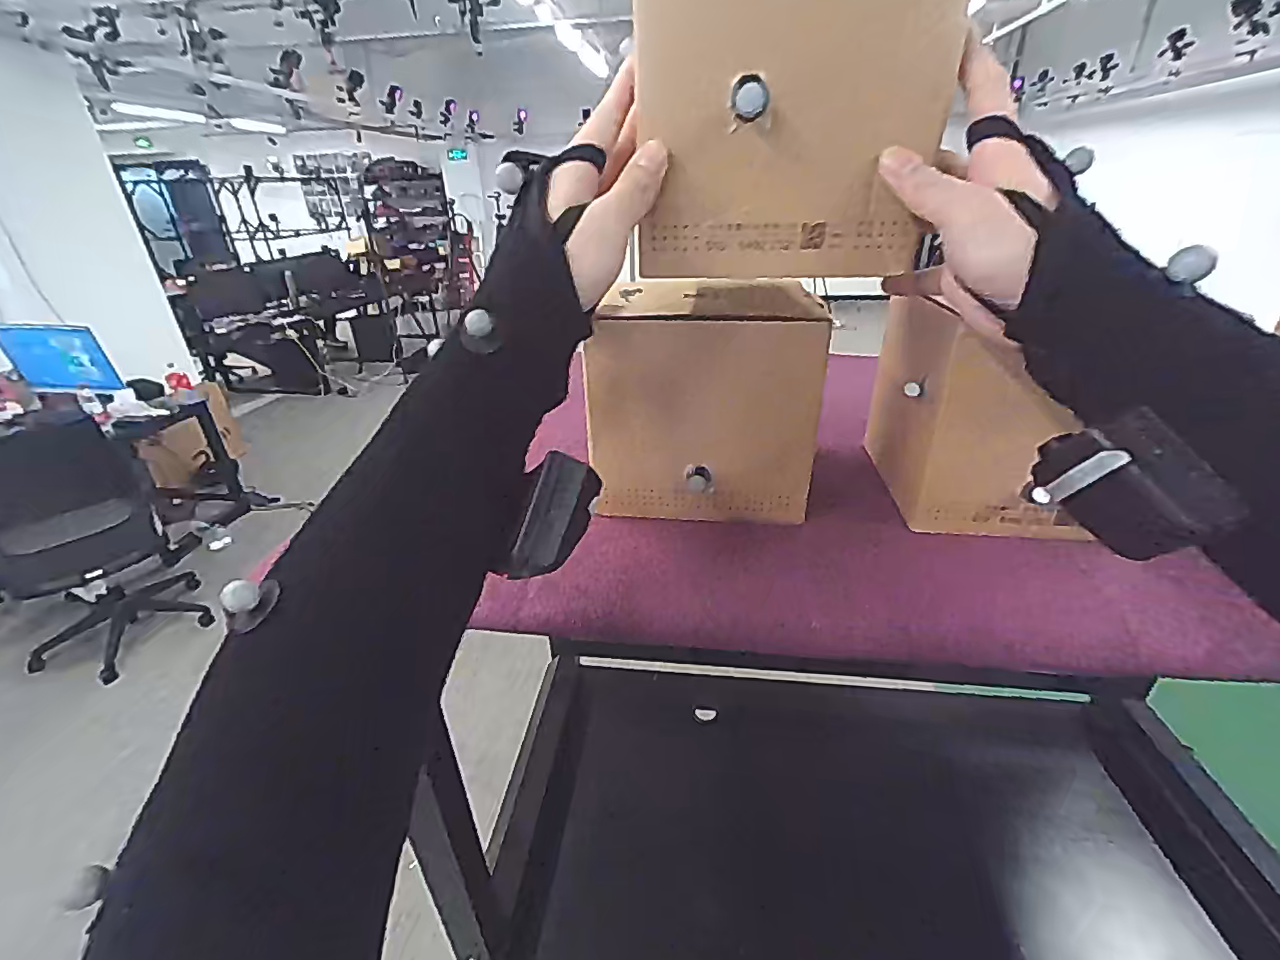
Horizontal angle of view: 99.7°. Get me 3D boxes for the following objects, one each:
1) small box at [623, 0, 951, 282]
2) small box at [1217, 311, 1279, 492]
[{"bbox_3d":[0.084,-0.232,0.361,0.168,0.176,0.179,1,31,5],"label":"small box"},{"bbox_3d":[0.617,-0.051,0.401,0.168,0.176,0.179,1,26,5],"label":"small box"}]
